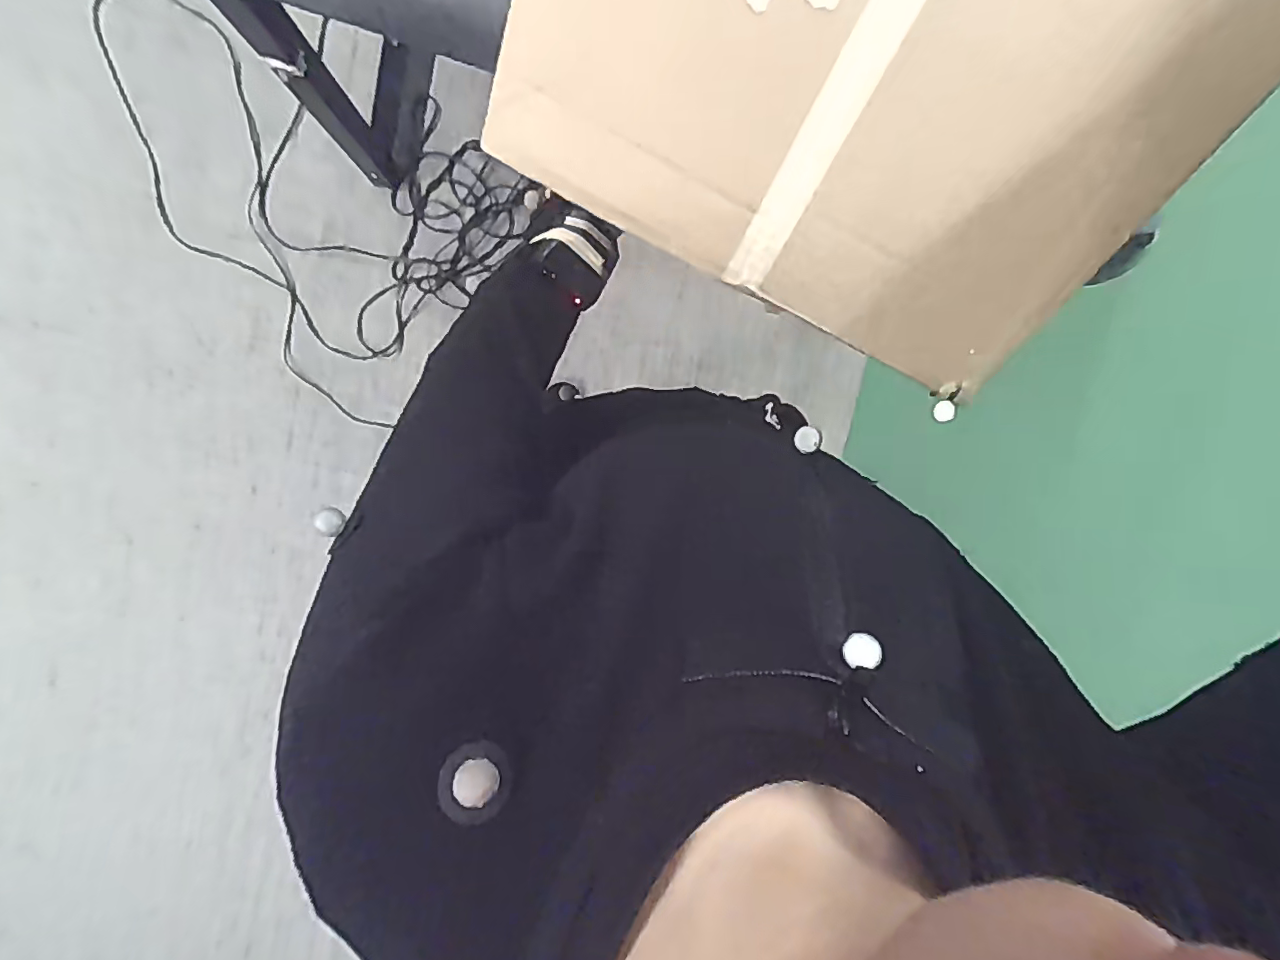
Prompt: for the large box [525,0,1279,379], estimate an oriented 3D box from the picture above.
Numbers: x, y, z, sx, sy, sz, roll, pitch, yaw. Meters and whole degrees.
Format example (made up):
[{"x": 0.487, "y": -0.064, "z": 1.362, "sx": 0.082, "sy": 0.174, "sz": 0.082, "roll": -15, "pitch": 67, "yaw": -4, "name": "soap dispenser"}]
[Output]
[{"x": 0.168, "y": -0.349, "z": 0.321, "sx": 0.320, "sy": 0.320, "sz": 0.408, "roll": 25, "pitch": 128, "yaw": -6, "name": "large box"}]
